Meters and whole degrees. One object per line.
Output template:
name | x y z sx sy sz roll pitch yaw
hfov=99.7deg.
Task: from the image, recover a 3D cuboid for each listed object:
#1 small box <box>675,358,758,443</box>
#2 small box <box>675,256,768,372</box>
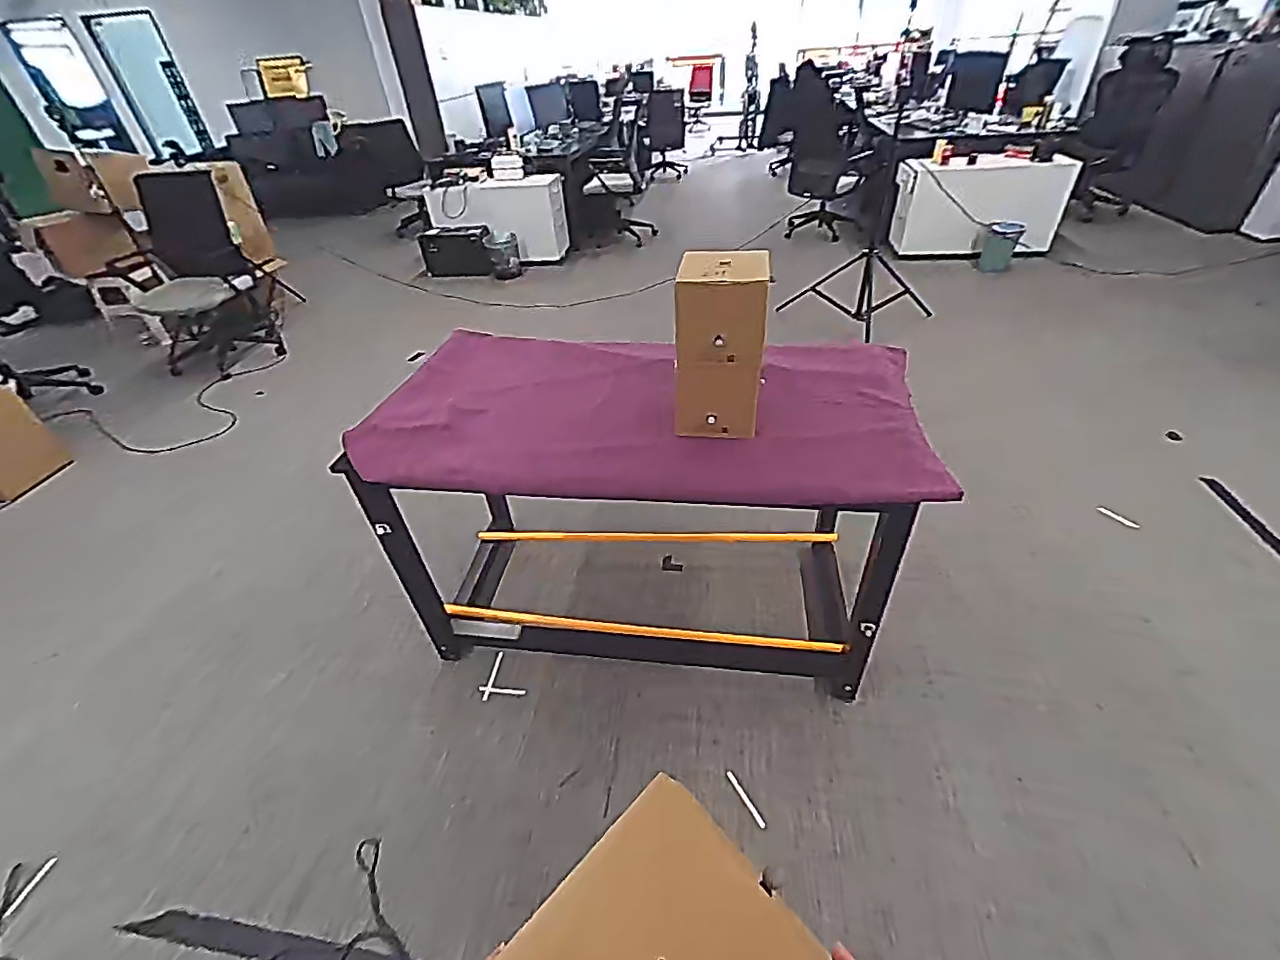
small box | 0.167 -0.199 1.166 0.168 0.176 0.179 3 40 10
small box | 0.161 -0.328 1.063 0.168 0.176 0.179 3 39 11
